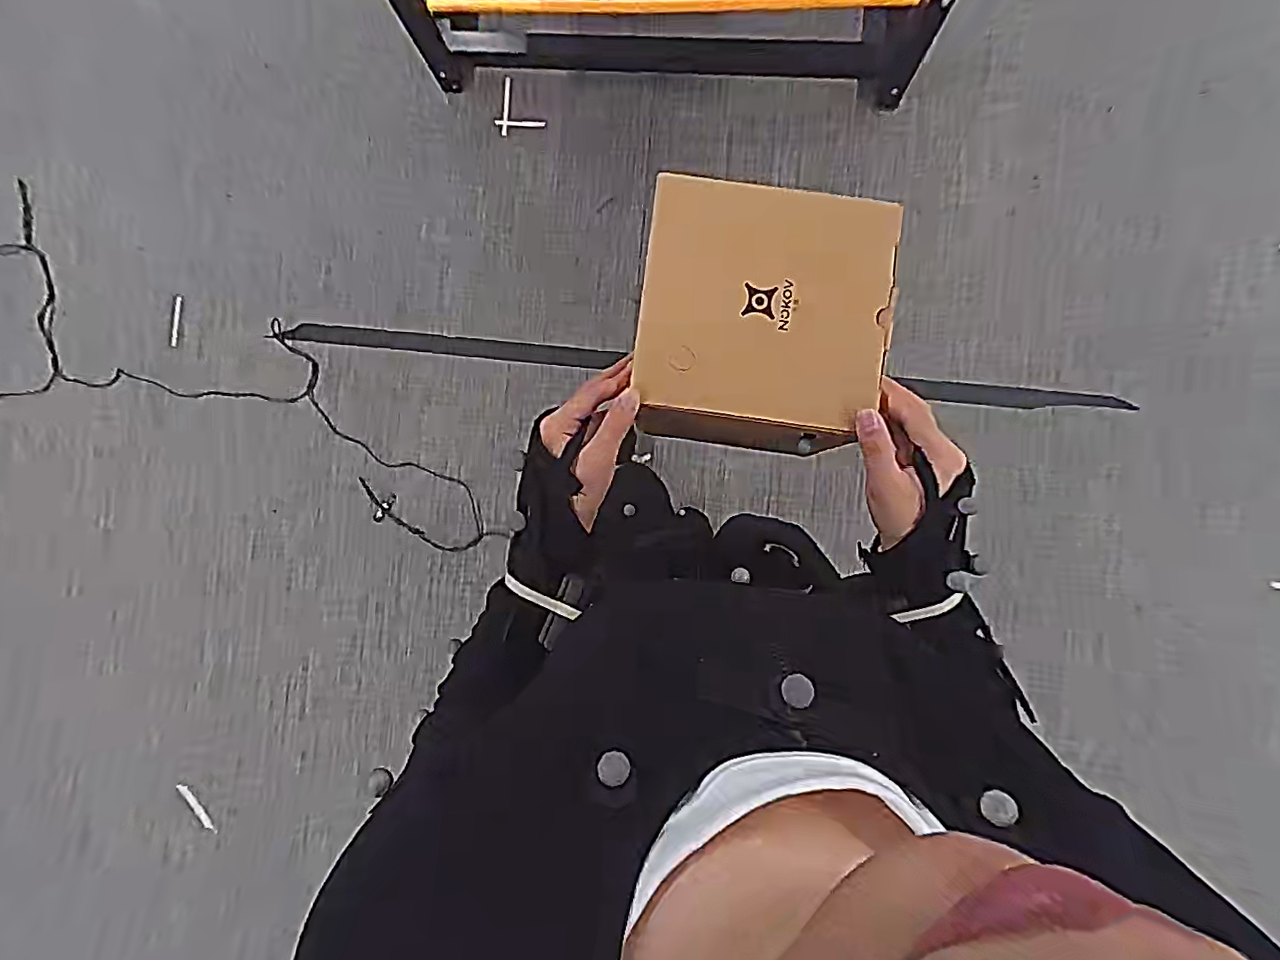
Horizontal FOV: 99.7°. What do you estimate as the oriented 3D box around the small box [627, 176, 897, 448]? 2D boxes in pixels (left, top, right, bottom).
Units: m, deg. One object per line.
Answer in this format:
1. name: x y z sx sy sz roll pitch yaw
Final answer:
1. small box: 0.088 -0.123 0.462 0.179 0.176 0.168 8 88 0
